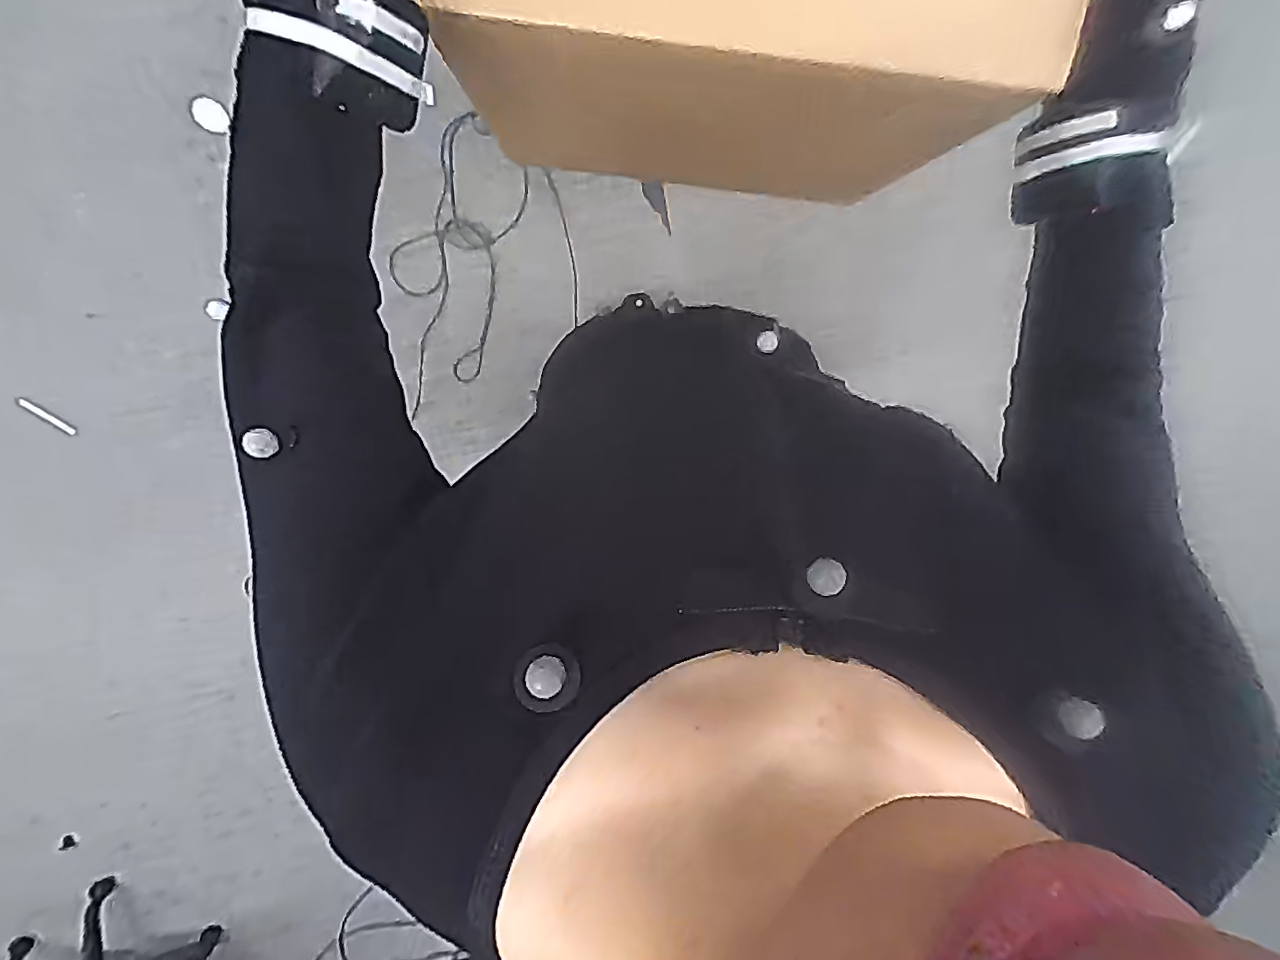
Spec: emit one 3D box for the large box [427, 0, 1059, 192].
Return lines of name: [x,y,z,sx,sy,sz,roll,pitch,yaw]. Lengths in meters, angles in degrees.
large box: [0.067,-0.458,0.444,0.408,0.320,0.320,4,105,-4]
